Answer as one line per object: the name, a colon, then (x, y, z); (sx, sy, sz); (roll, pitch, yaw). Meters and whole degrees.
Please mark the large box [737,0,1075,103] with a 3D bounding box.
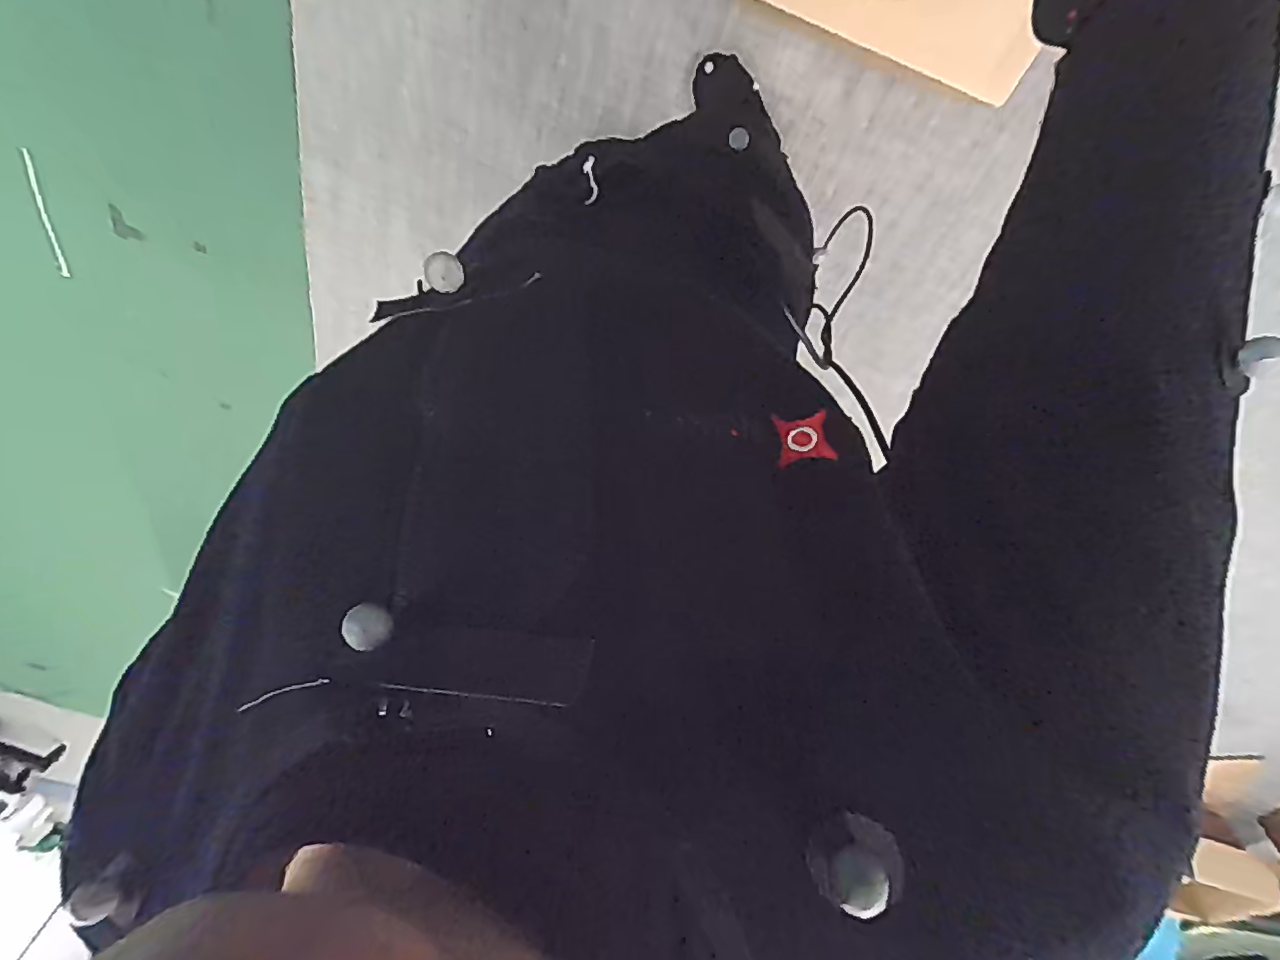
large box: (0.378, -0.774, 0.738); (0.408, 0.320, 0.320); (18, 130, -6)
